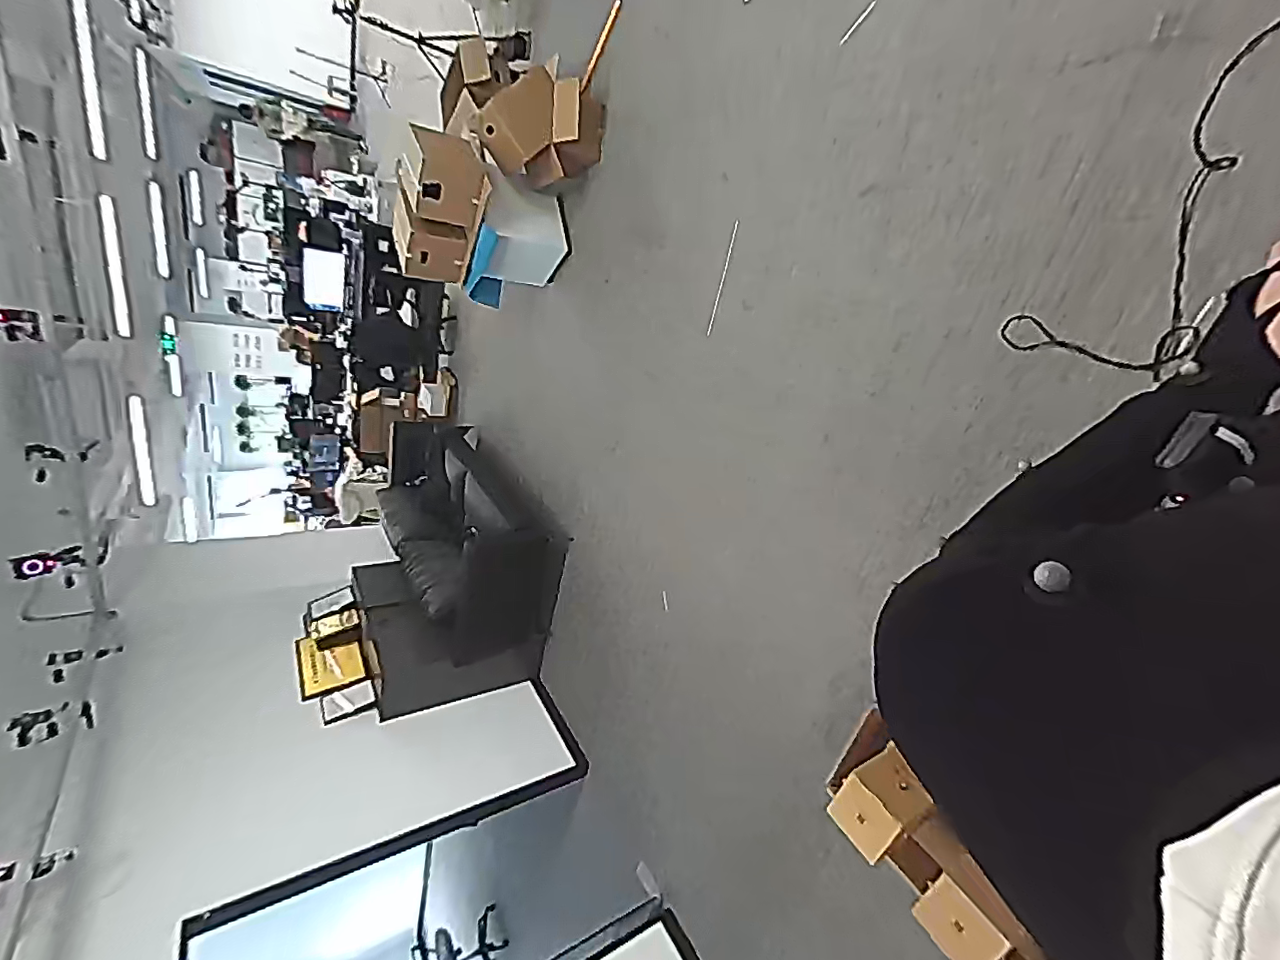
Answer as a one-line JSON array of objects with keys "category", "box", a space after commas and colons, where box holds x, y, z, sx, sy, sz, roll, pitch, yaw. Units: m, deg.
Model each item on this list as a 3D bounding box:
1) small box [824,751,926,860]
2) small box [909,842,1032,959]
[{"category": "small box", "box": [0.658, 0.901, 1.509, 0.168, 0.176, 0.179, 43, 125, 44]}, {"category": "small box", "box": [0.804, 1.035, 1.314, 0.168, 0.176, 0.179, 43, 126, 44]}]
